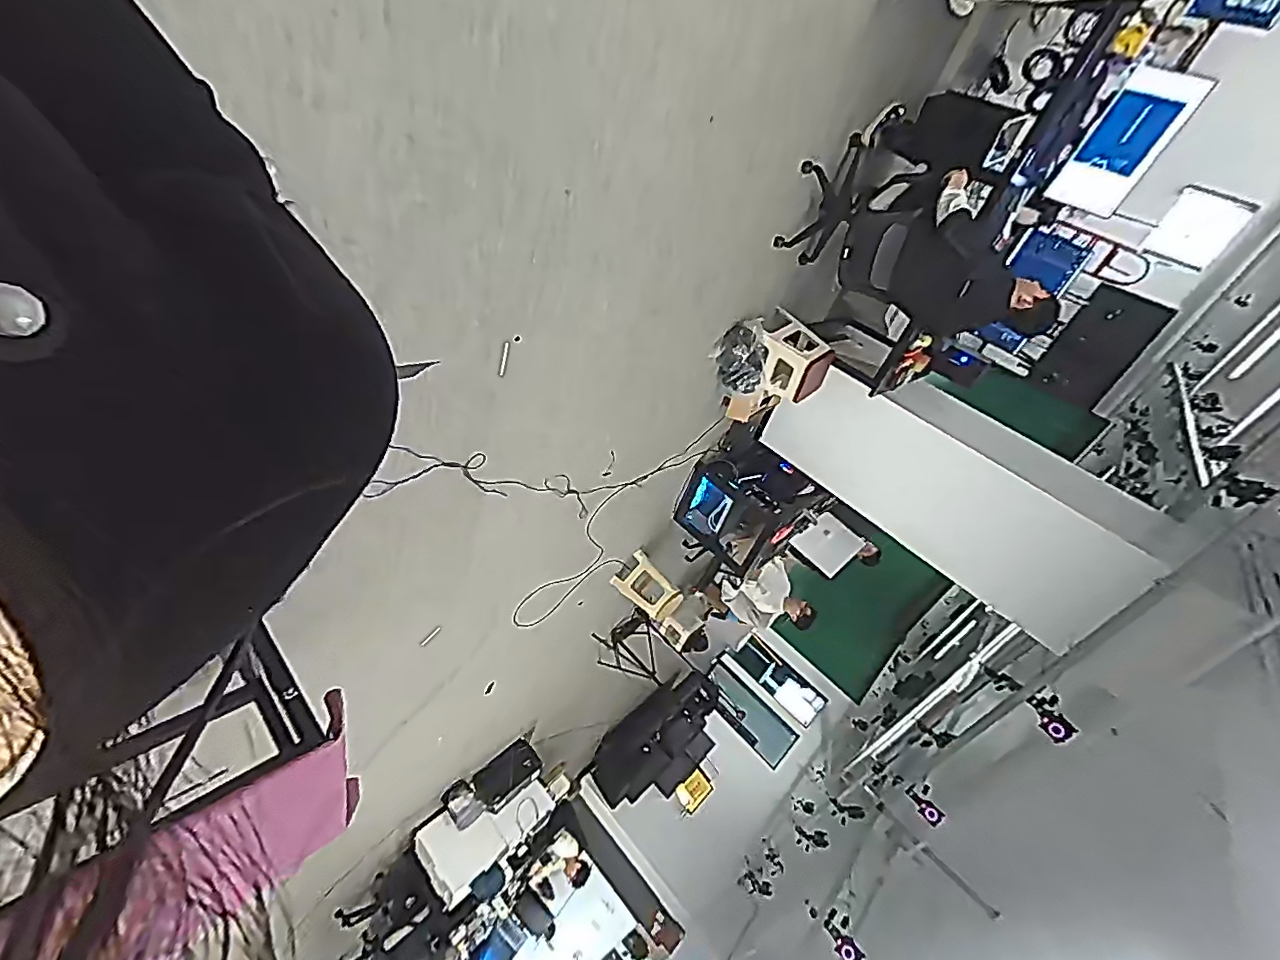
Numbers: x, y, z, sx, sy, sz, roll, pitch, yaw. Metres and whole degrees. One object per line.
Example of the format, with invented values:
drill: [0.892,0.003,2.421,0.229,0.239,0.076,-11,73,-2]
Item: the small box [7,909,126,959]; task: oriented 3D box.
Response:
small box: [-1.154,1.022,1.087,0.168,0.176,0.179,-22,143,-48]
